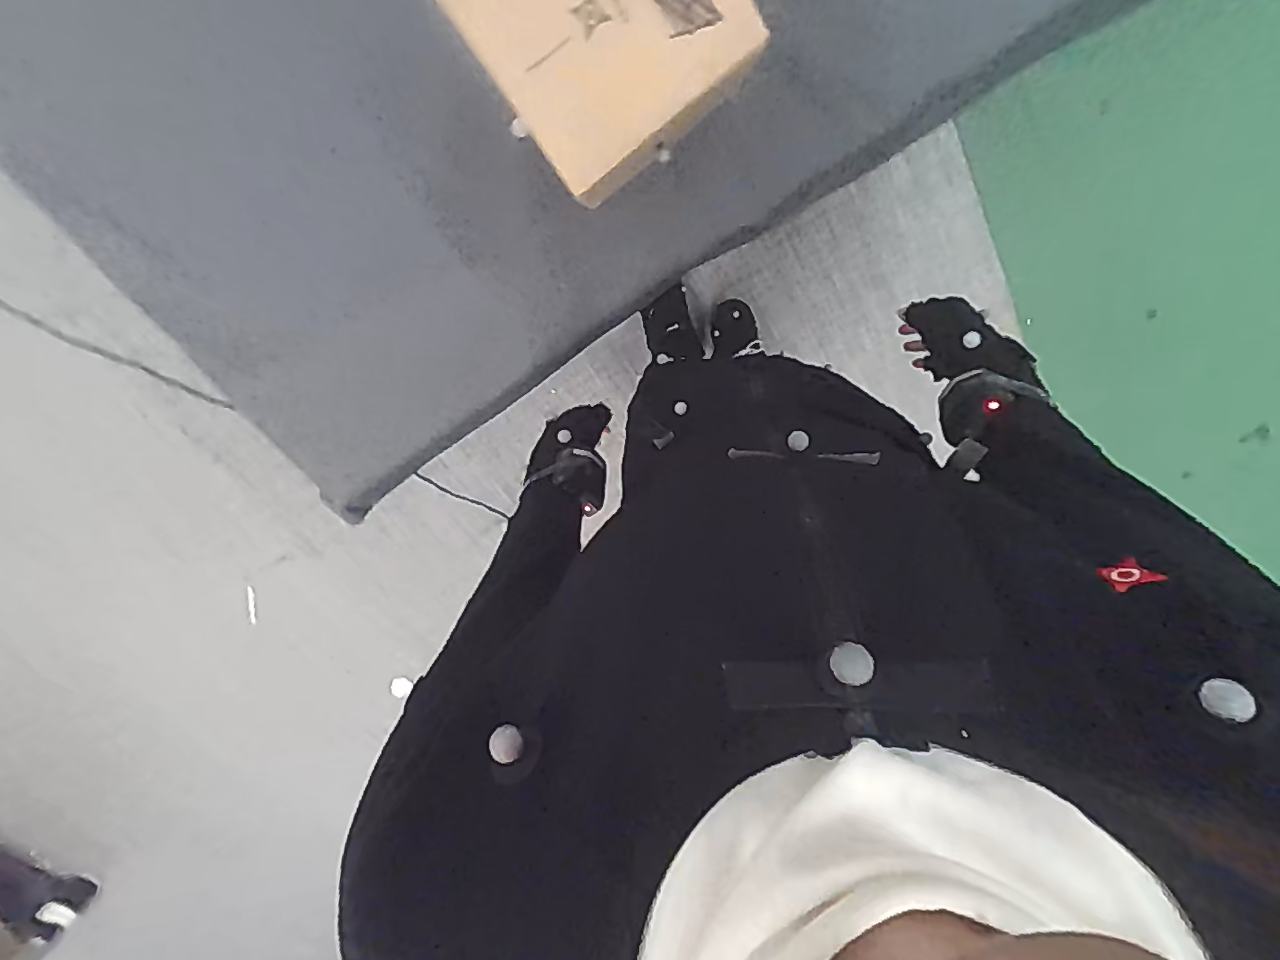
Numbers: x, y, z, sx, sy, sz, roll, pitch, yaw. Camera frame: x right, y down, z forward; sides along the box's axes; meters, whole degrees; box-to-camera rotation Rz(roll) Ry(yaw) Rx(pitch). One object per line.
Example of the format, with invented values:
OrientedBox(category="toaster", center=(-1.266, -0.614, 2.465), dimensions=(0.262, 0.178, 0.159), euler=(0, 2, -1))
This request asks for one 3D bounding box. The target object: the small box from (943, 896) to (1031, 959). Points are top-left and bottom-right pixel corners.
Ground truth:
OrientedBox(category="small box", center=(1.140, 1.514, 1.771), dimensions=(0.179, 0.176, 0.168), euler=(-35, 108, 15))

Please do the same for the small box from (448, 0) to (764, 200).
OrientedBox(category="small box", center=(-0.026, -0.364, 0.453), dimensions=(0.179, 0.176, 0.168), euler=(-34, 110, 14))
